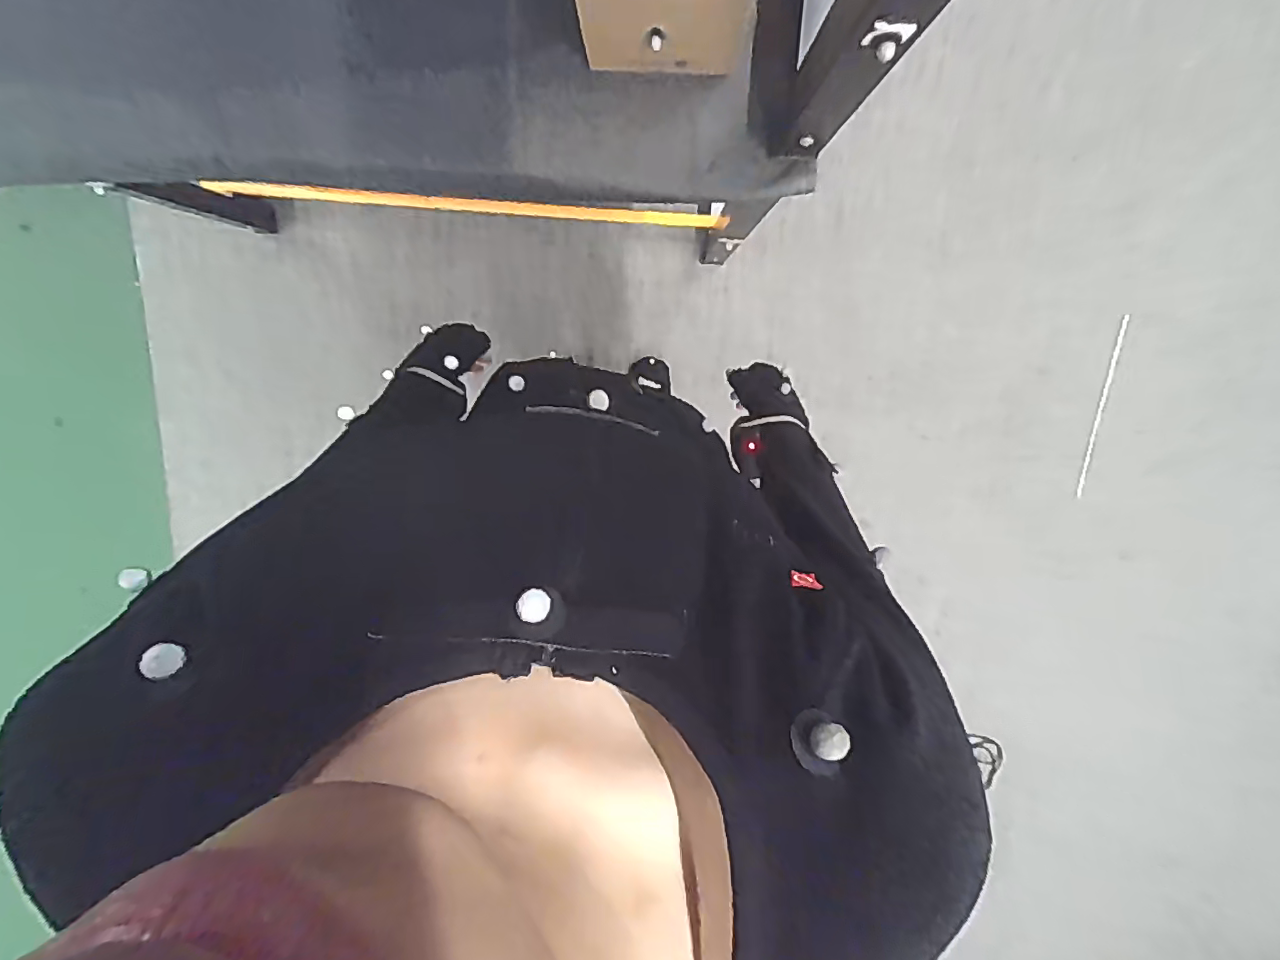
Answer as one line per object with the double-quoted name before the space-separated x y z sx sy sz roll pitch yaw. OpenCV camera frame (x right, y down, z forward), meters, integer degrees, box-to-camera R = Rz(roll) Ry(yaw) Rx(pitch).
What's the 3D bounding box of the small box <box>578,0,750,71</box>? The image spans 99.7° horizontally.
"small box" 0.028 -0.533 0.524 0.168 0.176 0.179 2 104 0
